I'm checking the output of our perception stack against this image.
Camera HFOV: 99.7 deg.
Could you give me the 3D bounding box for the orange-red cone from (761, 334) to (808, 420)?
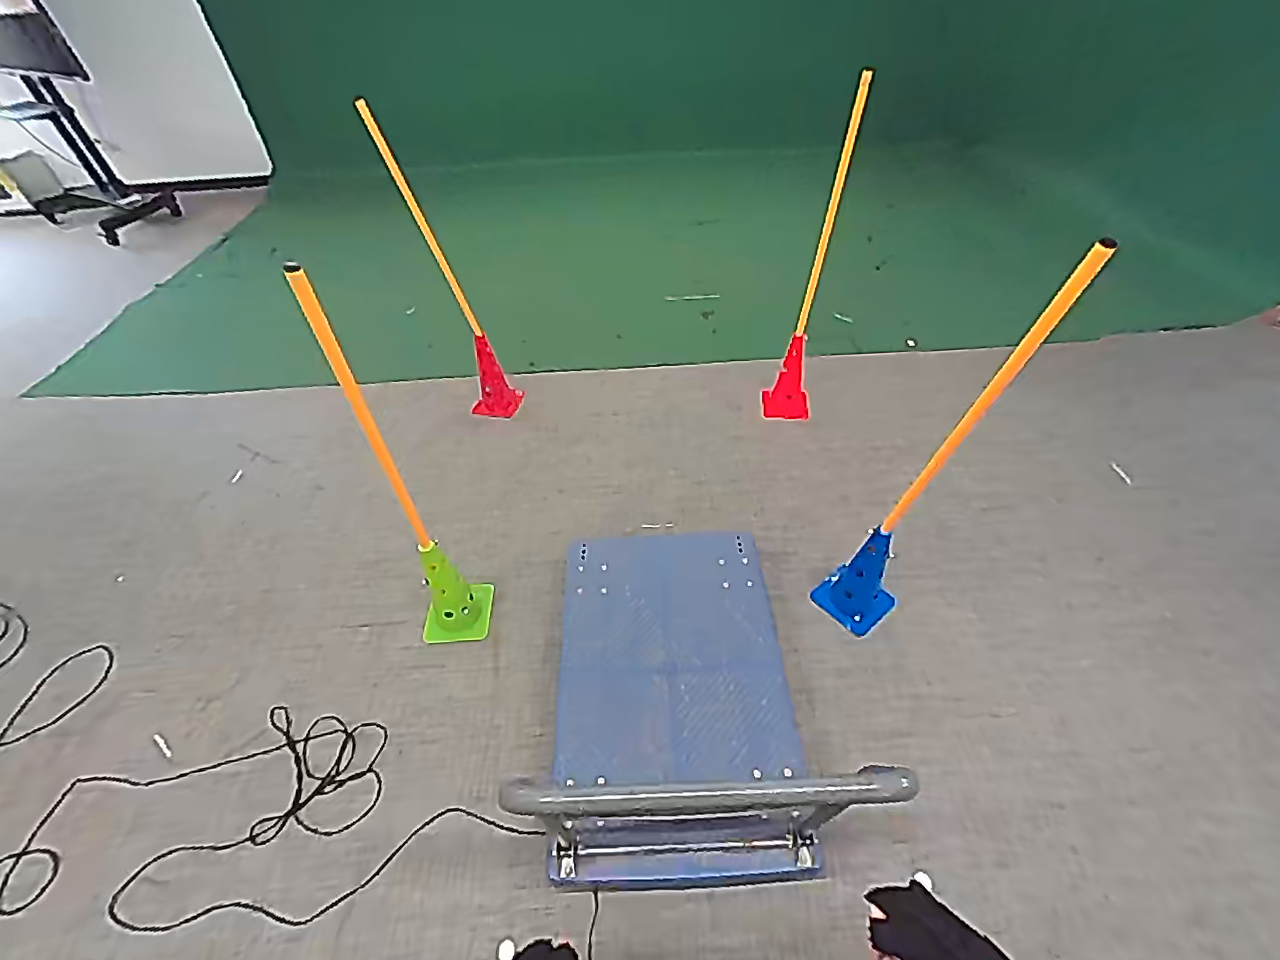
[{"bbox_3d":[0.630,-0.447,2.268,0.198,0.360,0.199,4,47,8],"label":"orange-red cone"}]
